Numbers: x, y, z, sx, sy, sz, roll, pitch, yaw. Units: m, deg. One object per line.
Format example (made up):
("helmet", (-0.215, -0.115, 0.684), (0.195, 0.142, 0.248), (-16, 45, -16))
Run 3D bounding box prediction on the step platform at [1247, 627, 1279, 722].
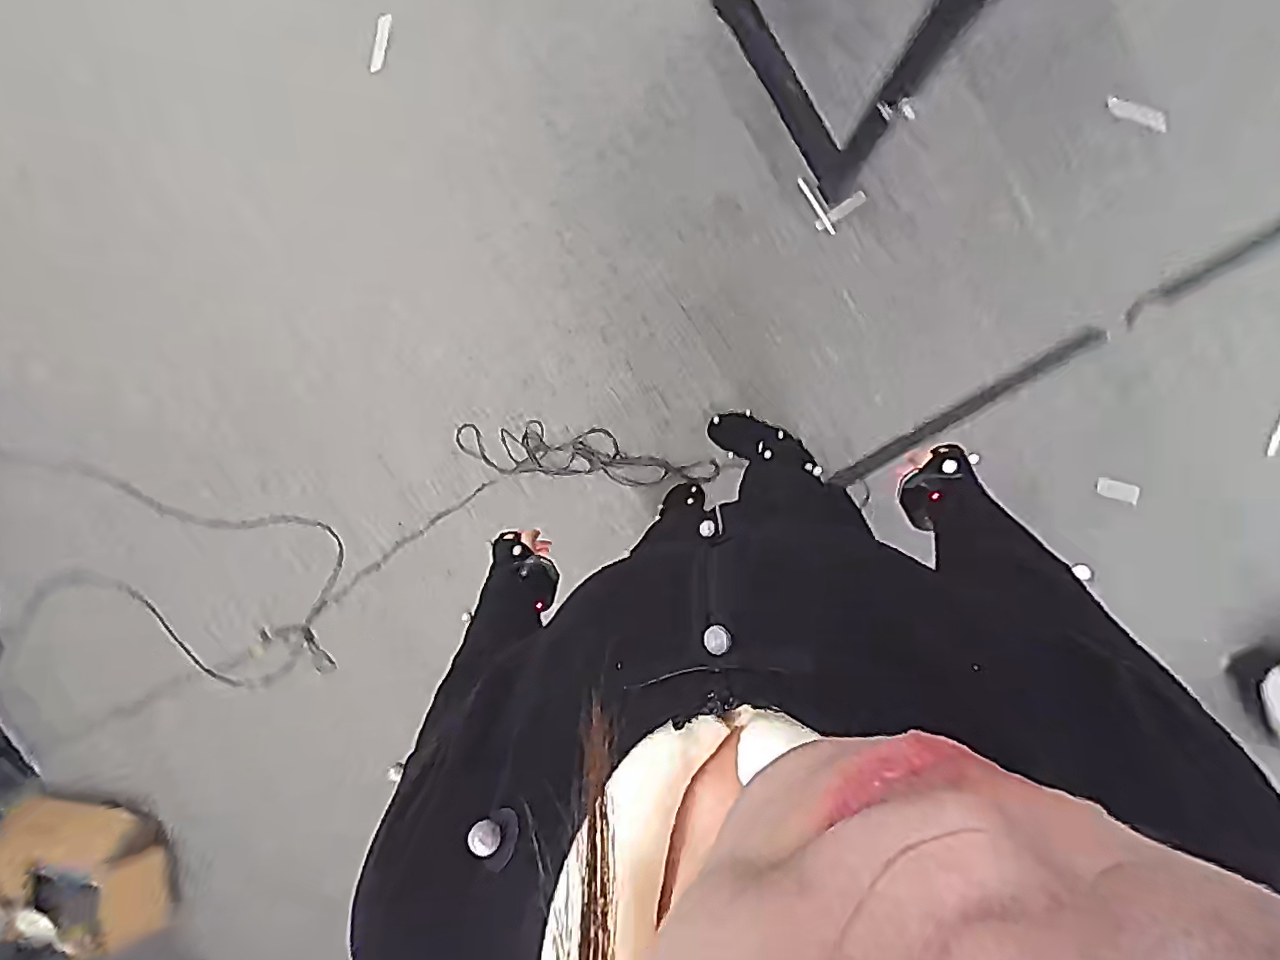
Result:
("step platform", (1.928, 0.410, 1.292), (0.684, 0.204, 0.286), (-27, 95, 7))
